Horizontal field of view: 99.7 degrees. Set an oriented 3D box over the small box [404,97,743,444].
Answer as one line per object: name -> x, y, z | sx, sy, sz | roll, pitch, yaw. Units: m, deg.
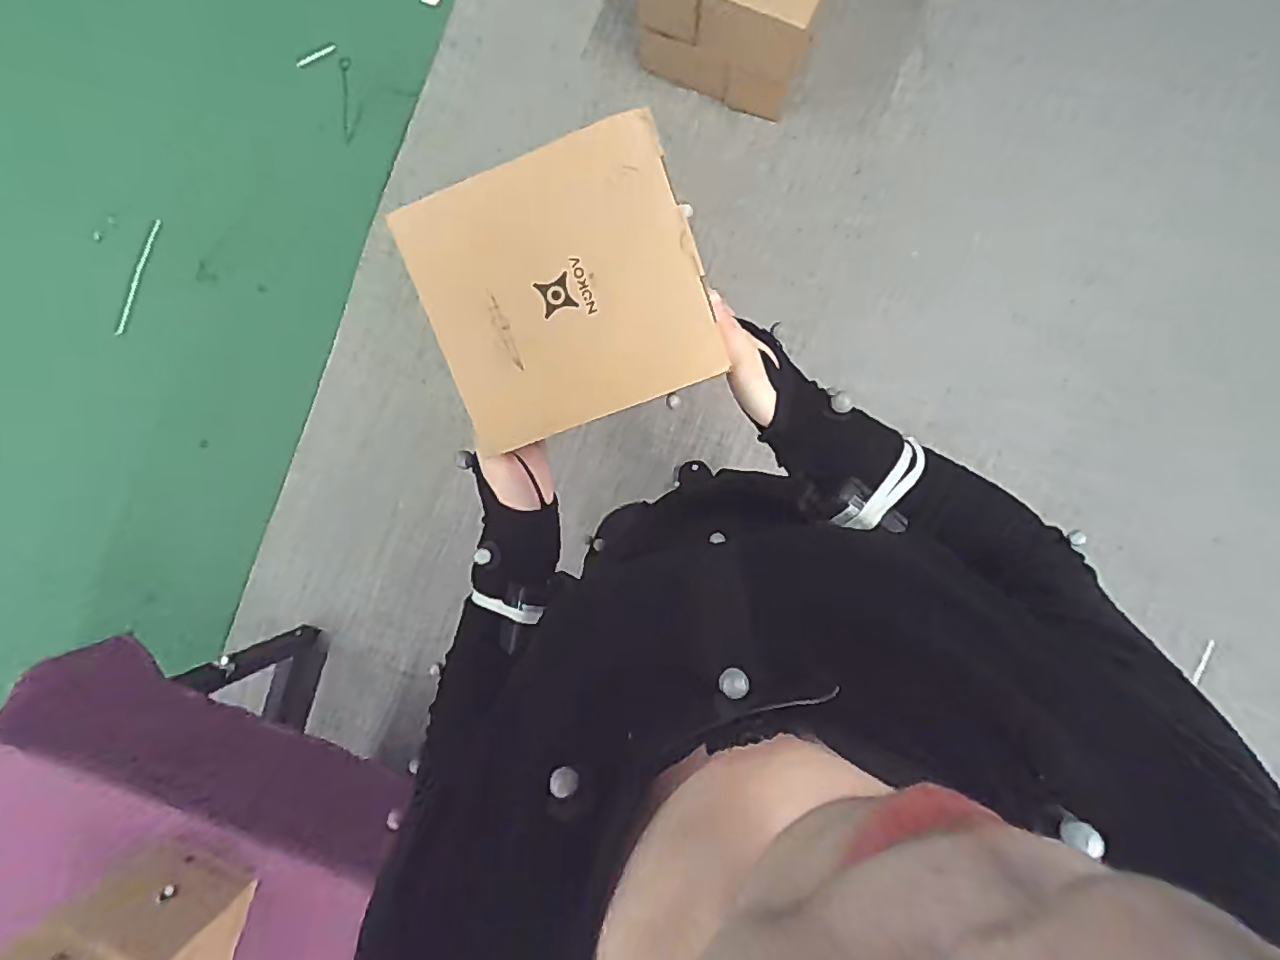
small box -> -0.037, -0.141, 0.417 | 0.179, 0.176, 0.168 | -18, 99, 7
